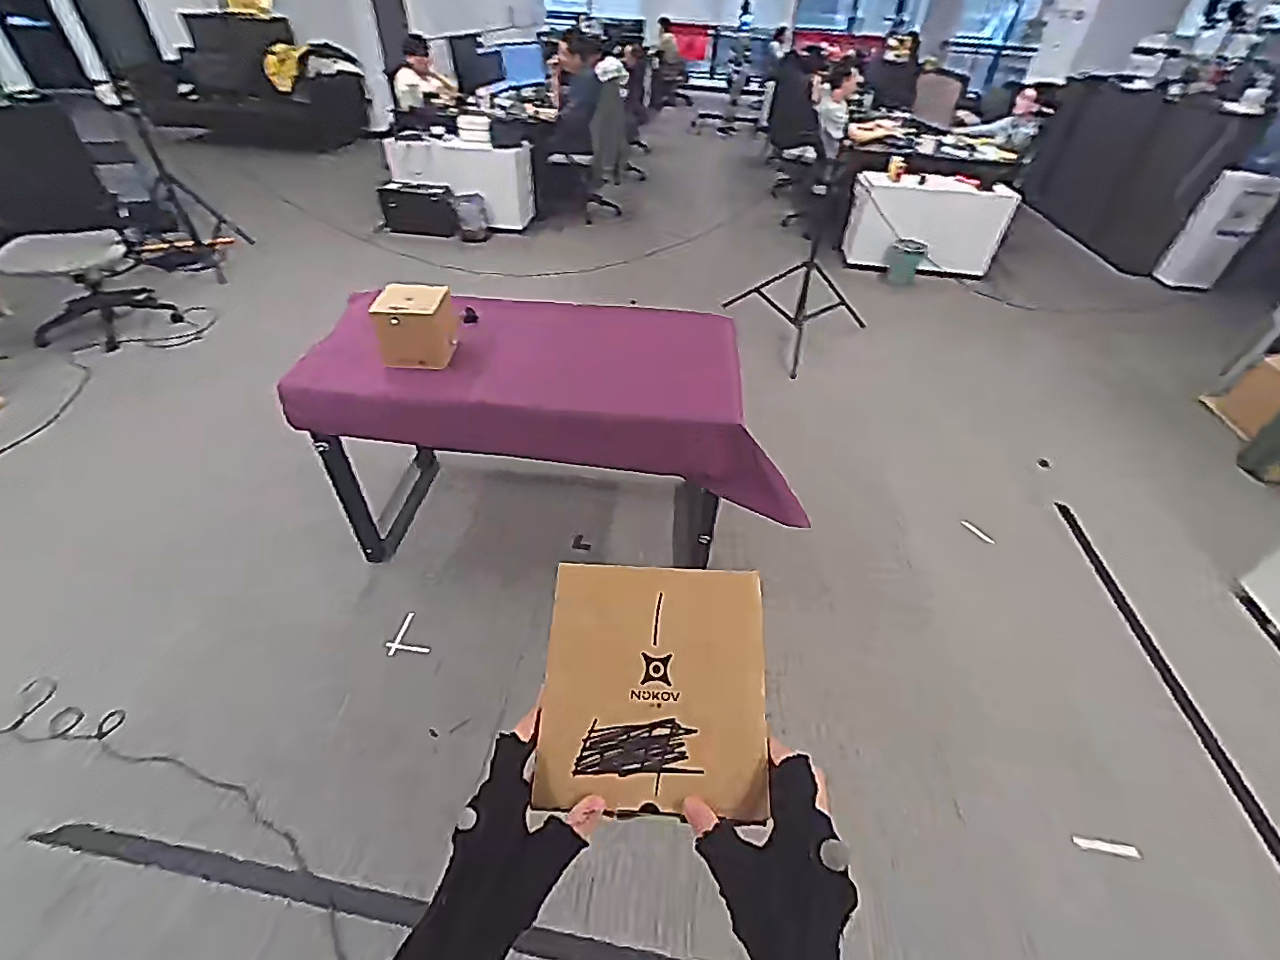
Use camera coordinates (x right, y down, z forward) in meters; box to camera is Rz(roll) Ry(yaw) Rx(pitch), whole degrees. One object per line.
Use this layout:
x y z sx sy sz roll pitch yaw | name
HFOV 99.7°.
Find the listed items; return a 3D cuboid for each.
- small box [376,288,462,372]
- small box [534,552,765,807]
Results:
-0.607 -0.419 1.510 0.168 0.176 0.179 1 41 -3 | small box
0.013 0.173 0.479 0.168 0.176 0.179 2 65 2 | small box
